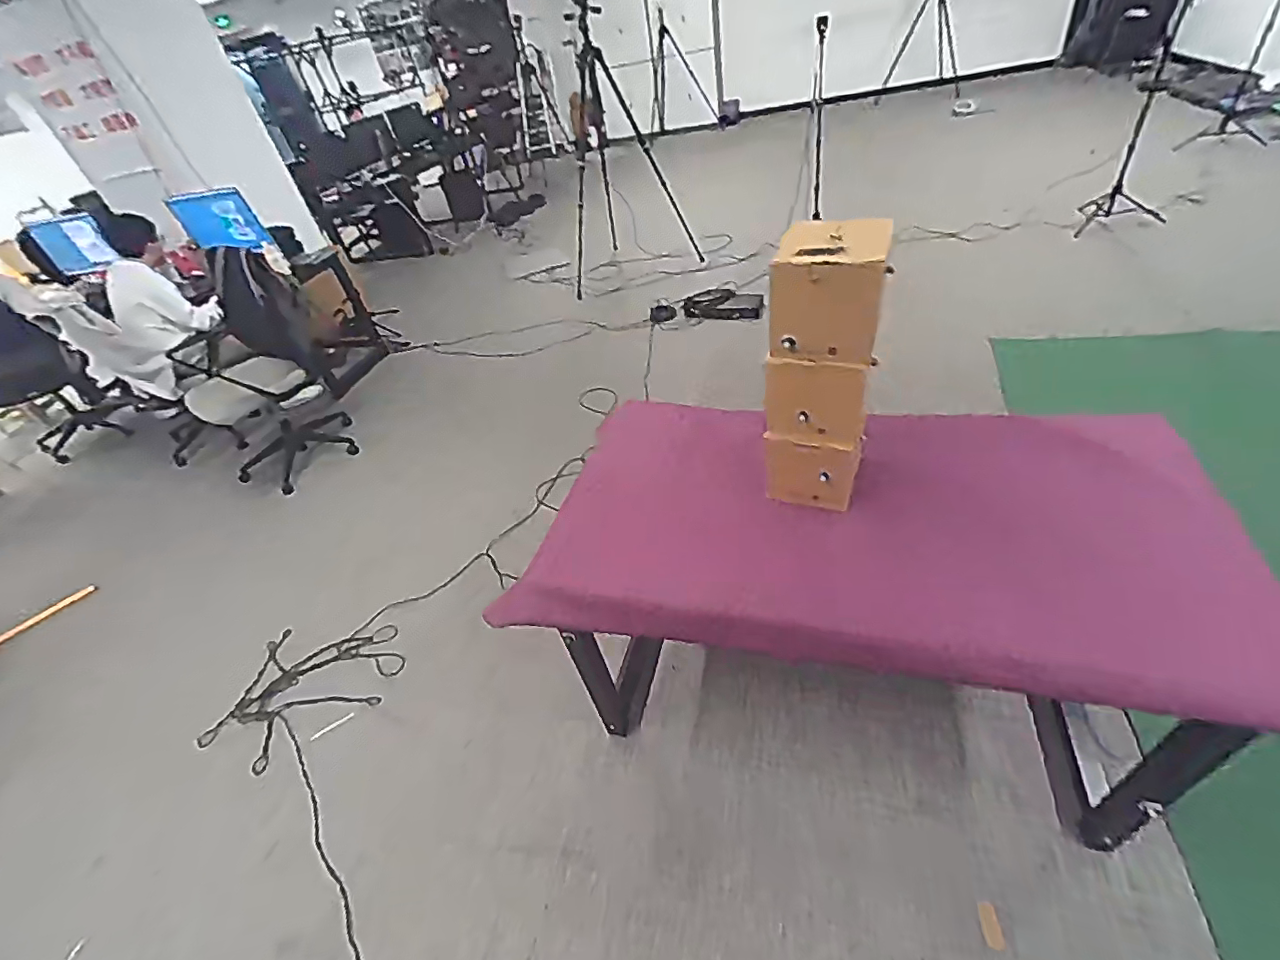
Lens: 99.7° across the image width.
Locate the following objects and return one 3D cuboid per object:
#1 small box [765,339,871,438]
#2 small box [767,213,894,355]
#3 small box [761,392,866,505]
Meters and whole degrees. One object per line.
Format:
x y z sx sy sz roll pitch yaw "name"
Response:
0.331 -0.199 1.005 0.168 0.176 0.179 9 47 22 "small box"
0.315 -0.324 0.899 0.168 0.176 0.179 10 46 23 "small box"
0.354 -0.073 1.104 0.168 0.176 0.179 11 46 25 "small box"
